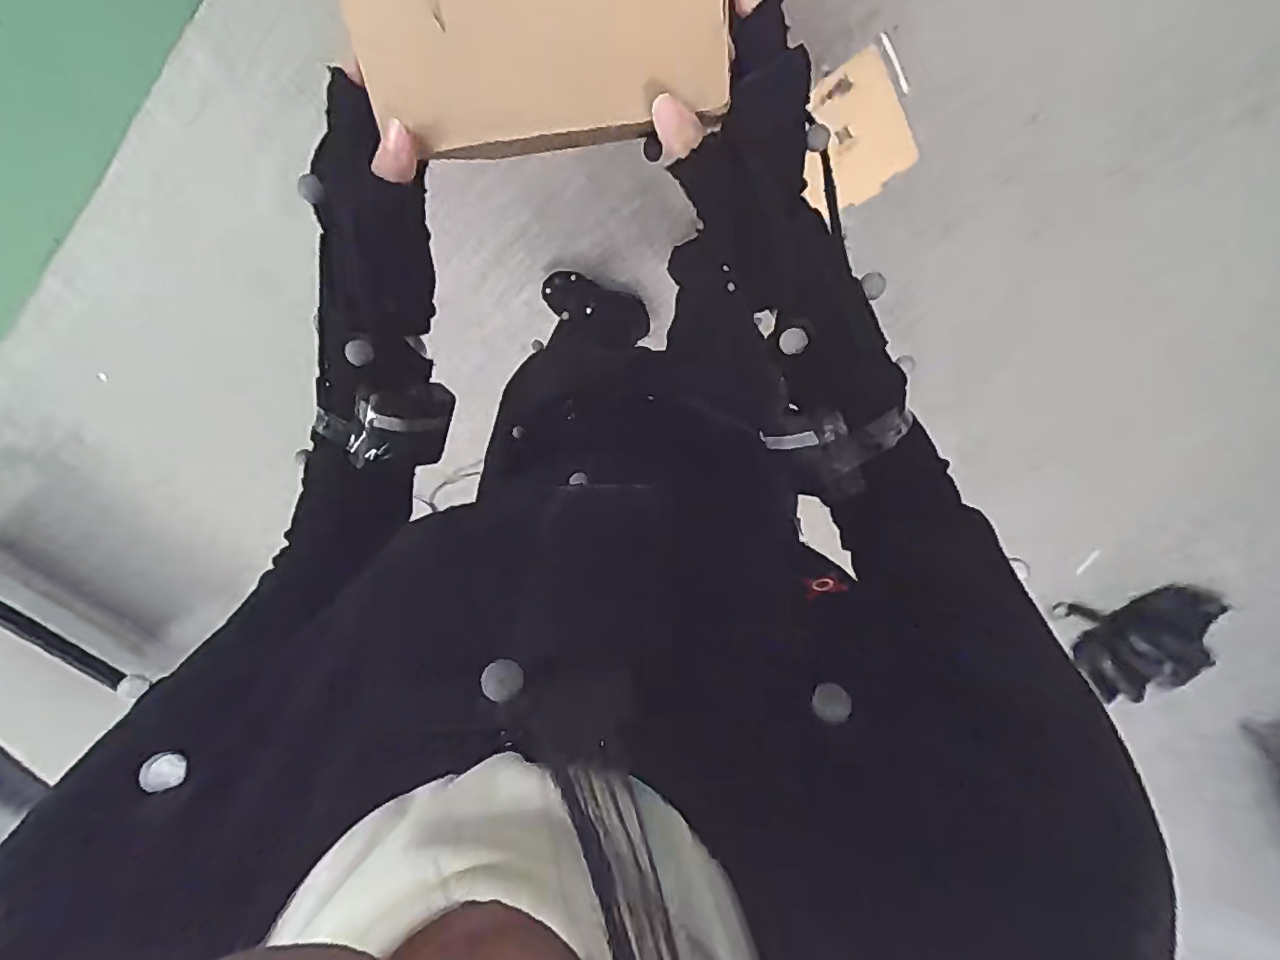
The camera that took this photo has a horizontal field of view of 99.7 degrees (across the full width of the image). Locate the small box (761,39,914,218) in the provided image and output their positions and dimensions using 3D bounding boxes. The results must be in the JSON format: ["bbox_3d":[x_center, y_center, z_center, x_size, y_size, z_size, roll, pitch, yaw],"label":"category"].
[{"bbox_3d":[0.312,-0.565,0.880,0.168,0.176,0.179,-27,117,22],"label":"small box"}]
